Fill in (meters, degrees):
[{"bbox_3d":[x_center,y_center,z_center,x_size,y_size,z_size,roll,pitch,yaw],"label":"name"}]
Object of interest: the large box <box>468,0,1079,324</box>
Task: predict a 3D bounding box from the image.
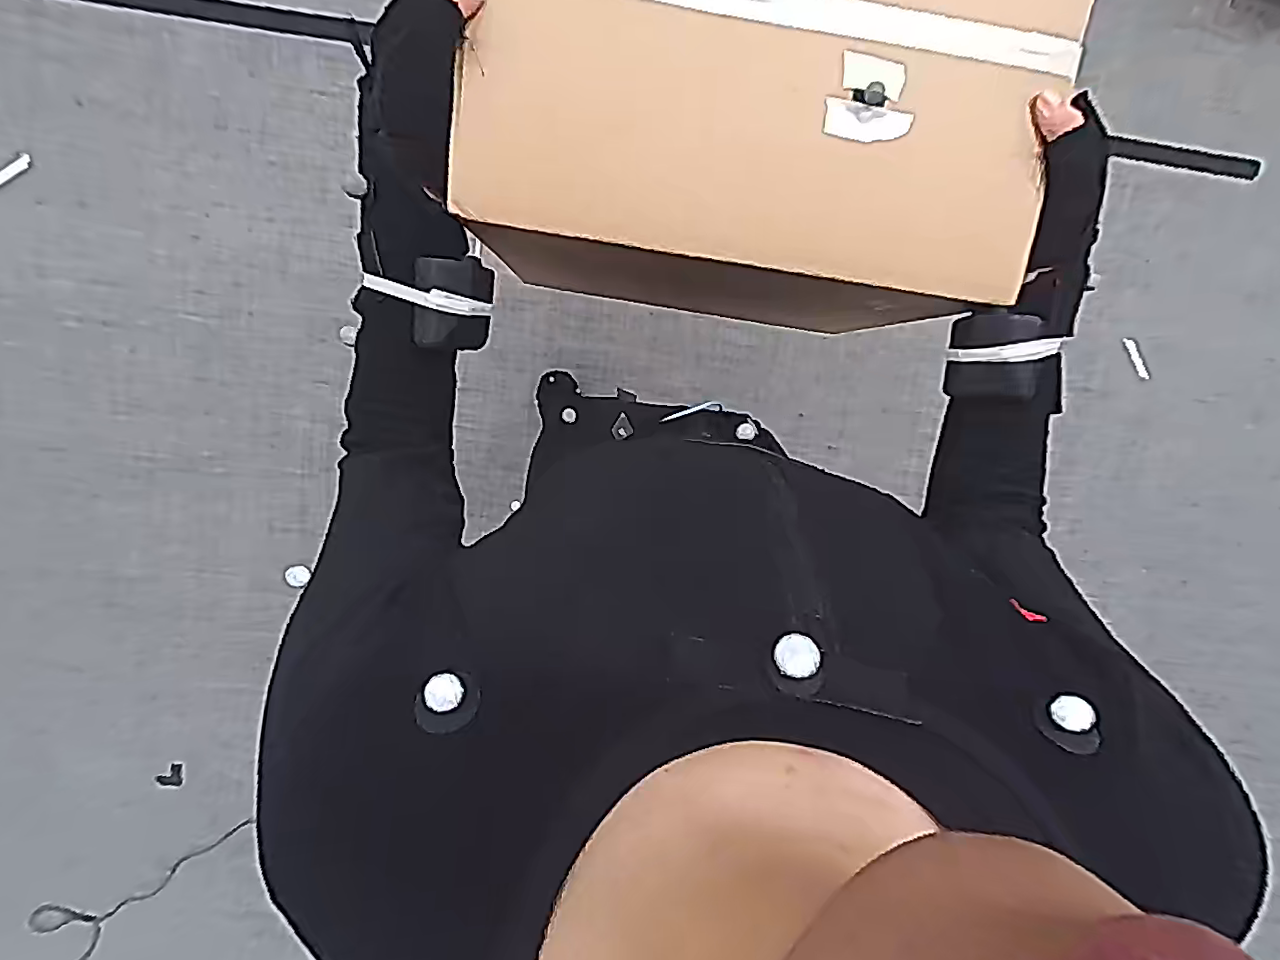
[{"bbox_3d":[0.084,-0.339,0.504,0.408,0.320,0.320,7,102,-5],"label":"large box"}]
